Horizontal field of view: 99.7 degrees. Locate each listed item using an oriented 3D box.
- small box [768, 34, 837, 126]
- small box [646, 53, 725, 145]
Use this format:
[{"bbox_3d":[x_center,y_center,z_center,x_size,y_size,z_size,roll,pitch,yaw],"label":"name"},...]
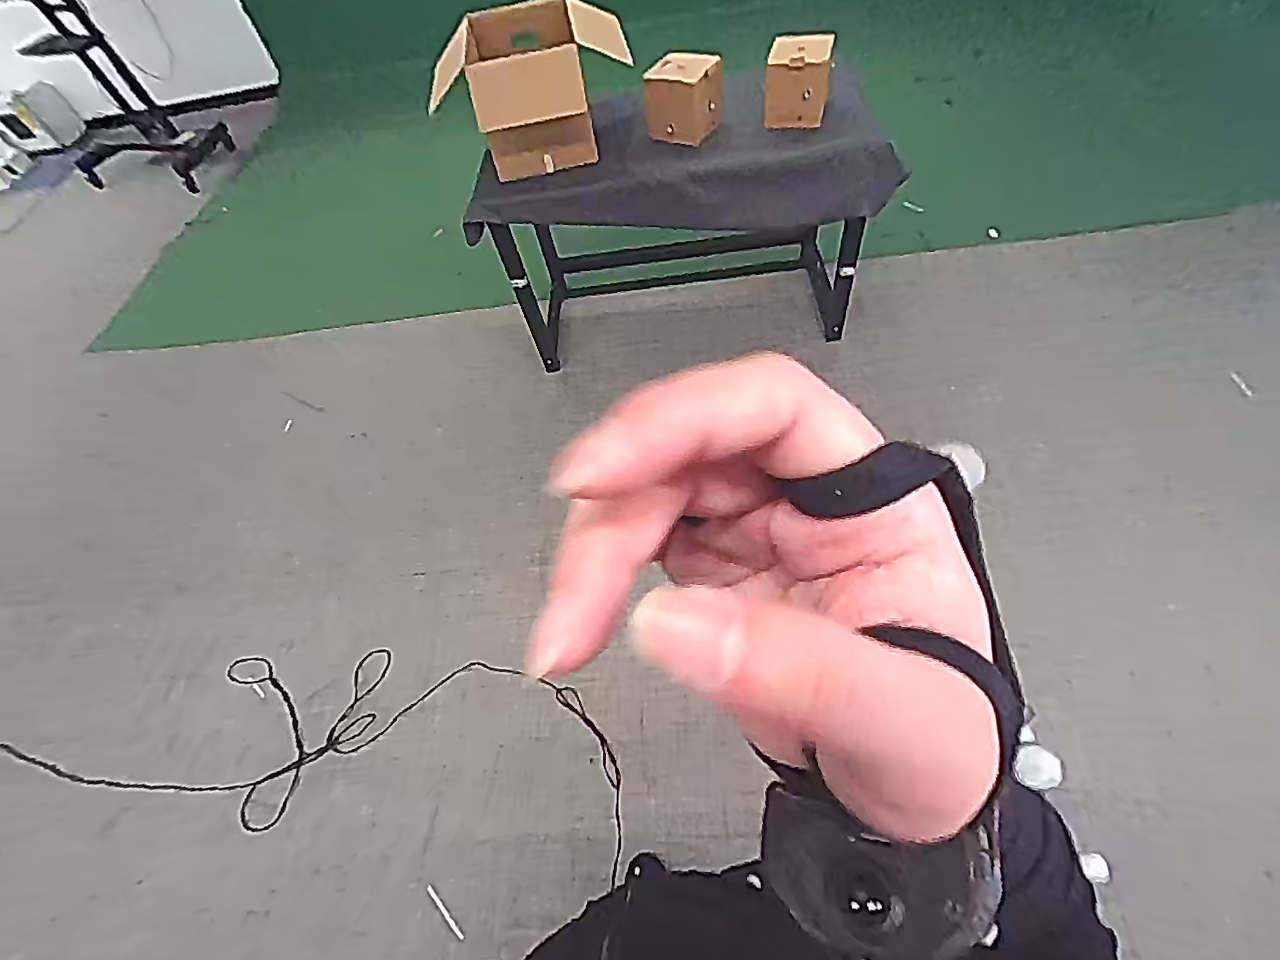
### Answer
[{"bbox_3d":[0.471,-1.164,1.581,0.168,0.176,0.179,10,58,15],"label":"small box"},{"bbox_3d":[0.143,-1.141,1.626,0.179,0.176,0.168,25,65,23],"label":"small box"}]
